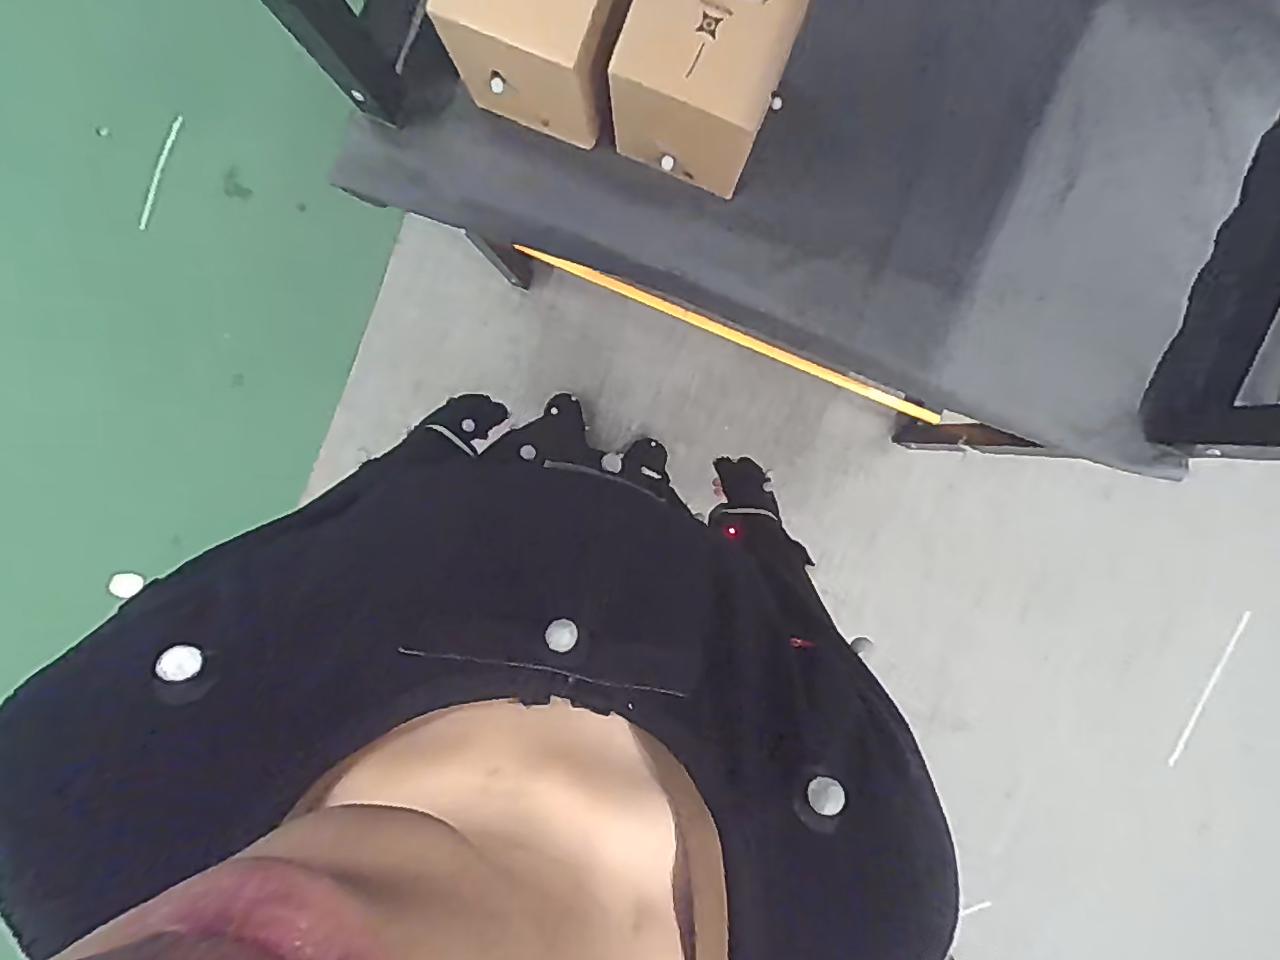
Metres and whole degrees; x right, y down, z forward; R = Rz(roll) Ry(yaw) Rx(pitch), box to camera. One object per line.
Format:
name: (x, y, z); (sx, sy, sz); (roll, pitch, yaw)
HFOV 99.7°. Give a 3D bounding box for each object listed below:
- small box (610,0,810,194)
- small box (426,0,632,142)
small box: (0.076, -0.475, 0.624); (0.168, 0.176, 0.179); (22, 95, 0)
small box: (-0.111, -0.537, 0.623); (0.168, 0.176, 0.179); (21, 94, -1)
